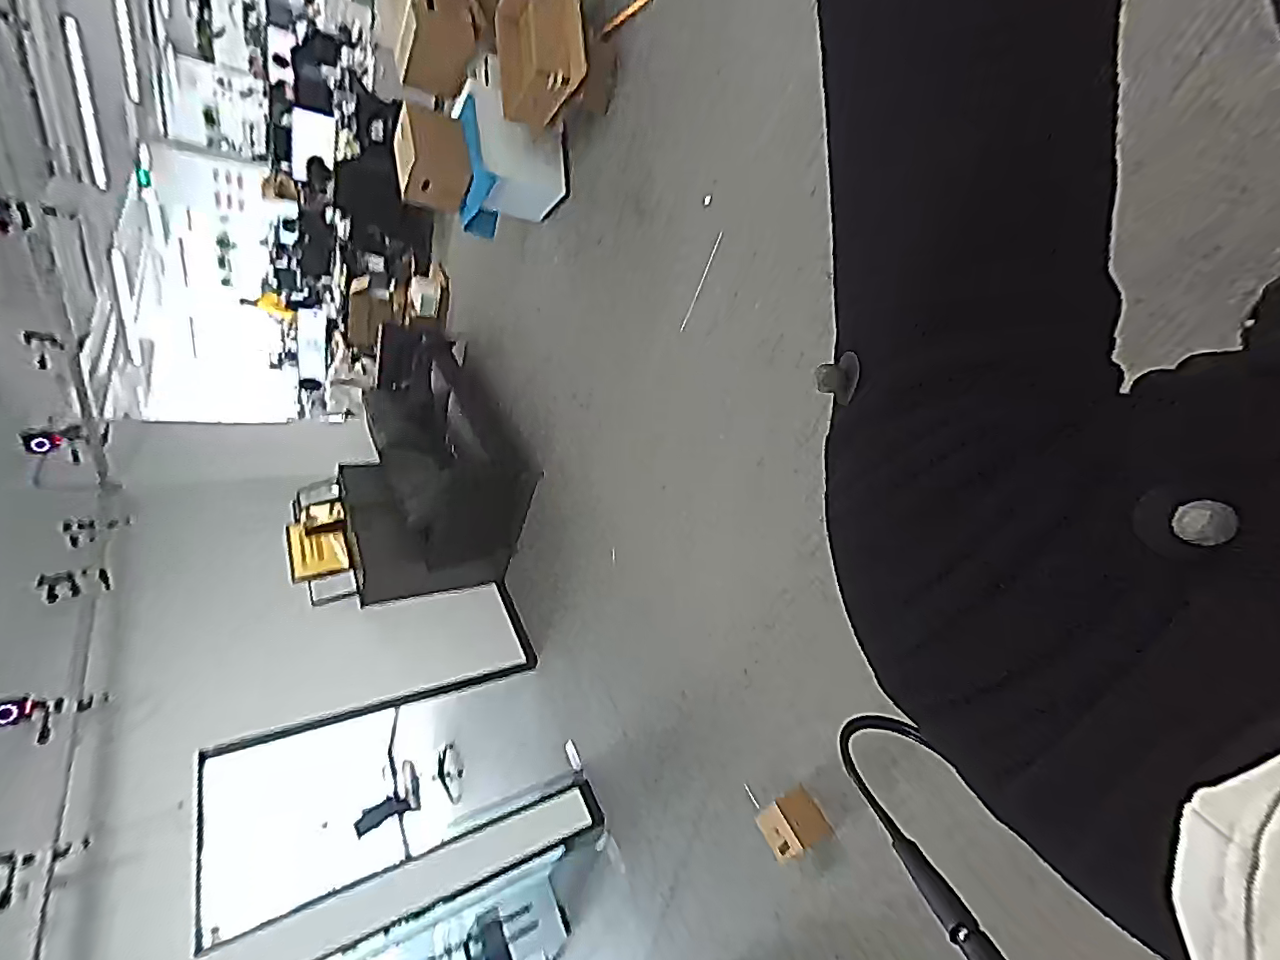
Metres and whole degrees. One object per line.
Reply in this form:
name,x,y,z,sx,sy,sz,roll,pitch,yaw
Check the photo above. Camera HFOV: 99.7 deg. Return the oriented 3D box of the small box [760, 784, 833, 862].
small box,0.604,1.315,2.079,0.179,0.176,0.168,55,134,38
